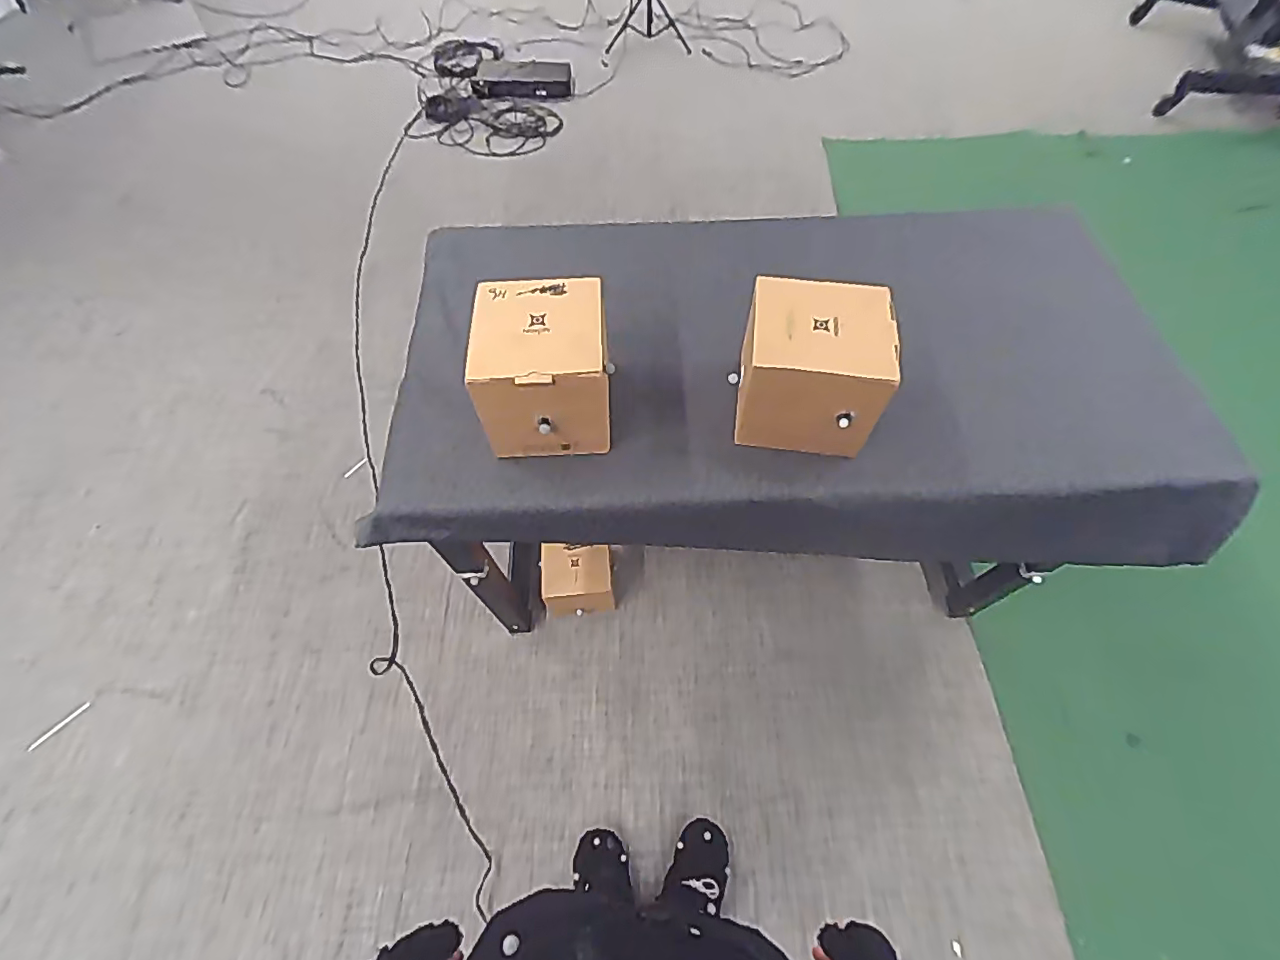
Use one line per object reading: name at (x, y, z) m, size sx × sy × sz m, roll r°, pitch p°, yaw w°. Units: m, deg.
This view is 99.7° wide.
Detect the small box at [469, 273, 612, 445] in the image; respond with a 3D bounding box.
small box at (-0.126, -0.159, 0.752) m, size 0.168 × 0.176 × 0.179 m, roll -3°, pitch 60°, yaw -2°

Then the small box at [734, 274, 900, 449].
small box at (0.234, -0.158, 0.752) m, size 0.179 × 0.176 × 0.168 m, roll 6°, pitch 59°, yaw 5°

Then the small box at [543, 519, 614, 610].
small box at (-0.154, 0.217, 1.379) m, size 0.168 × 0.176 × 0.179 m, roll -5°, pitch 61°, yaw -2°
